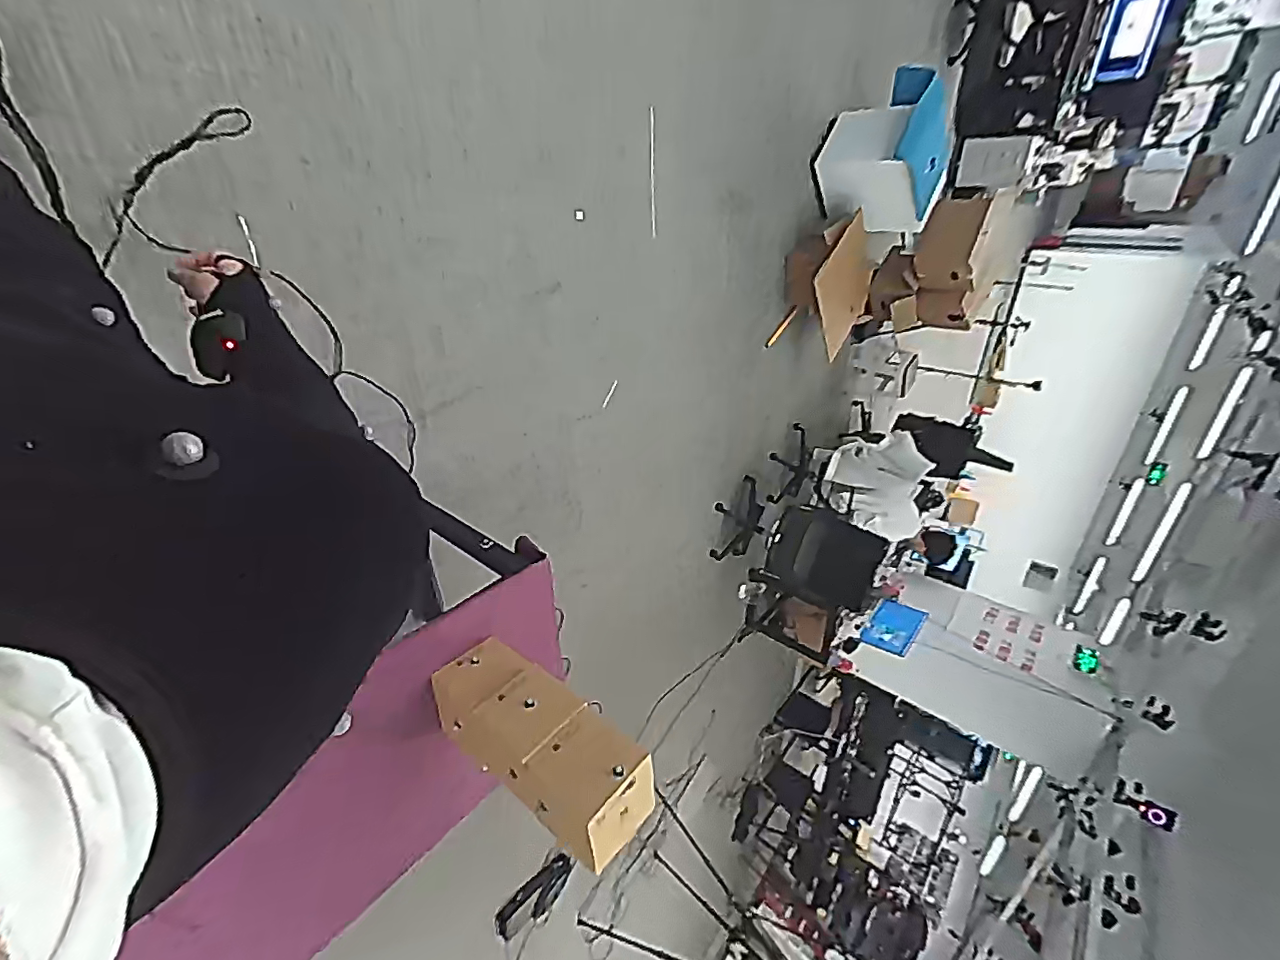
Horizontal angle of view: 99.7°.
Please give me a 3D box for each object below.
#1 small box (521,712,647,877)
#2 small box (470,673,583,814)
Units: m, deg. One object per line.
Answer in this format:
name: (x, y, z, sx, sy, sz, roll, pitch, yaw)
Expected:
small box: (-0.103, 0.582, 1.021, 0.168, 0.176, 0.179, -32, 131, -40)
small box: (-0.228, 0.526, 1.113, 0.168, 0.176, 0.179, -30, 129, -40)
